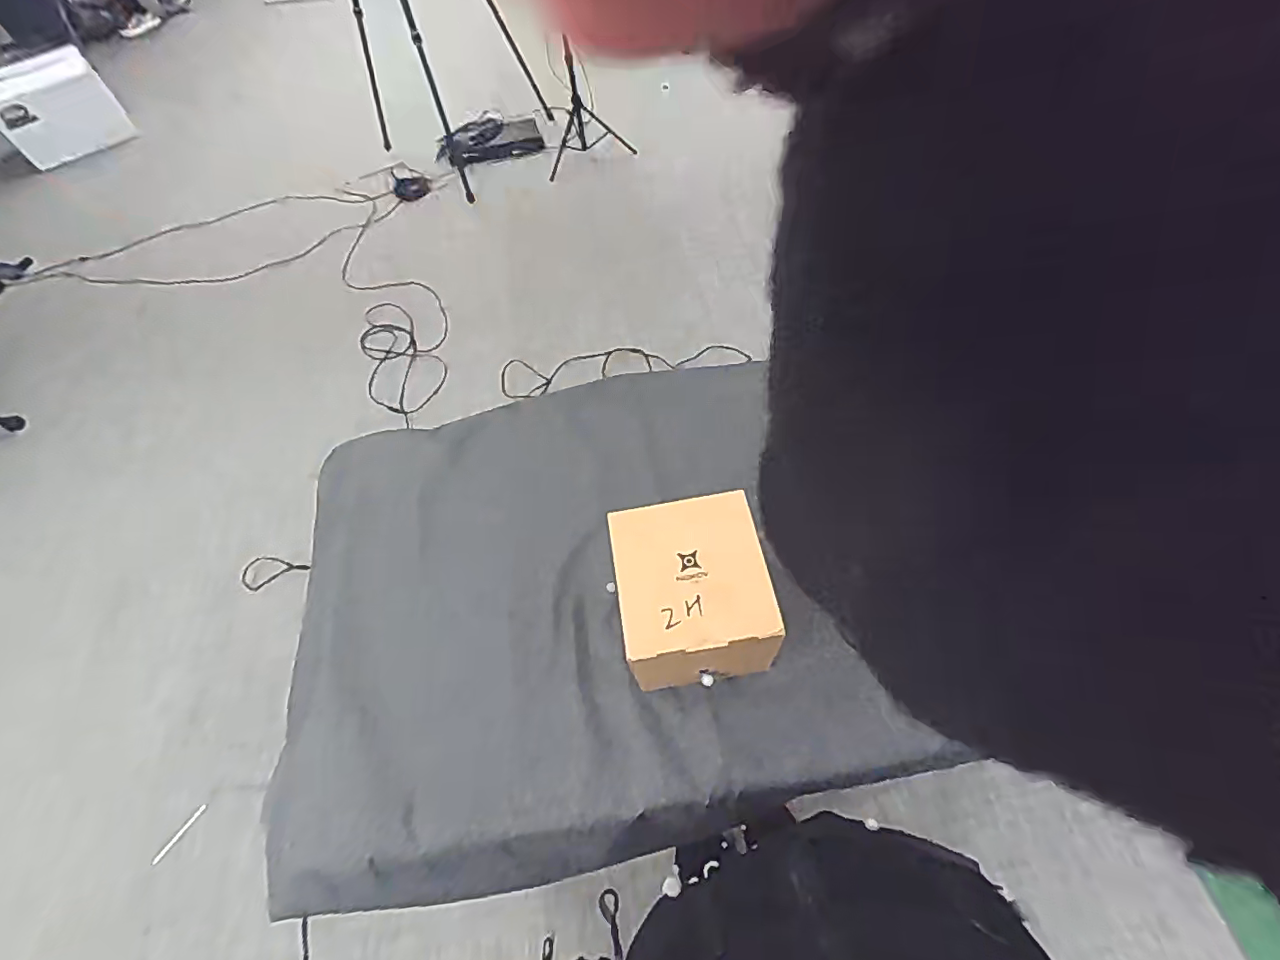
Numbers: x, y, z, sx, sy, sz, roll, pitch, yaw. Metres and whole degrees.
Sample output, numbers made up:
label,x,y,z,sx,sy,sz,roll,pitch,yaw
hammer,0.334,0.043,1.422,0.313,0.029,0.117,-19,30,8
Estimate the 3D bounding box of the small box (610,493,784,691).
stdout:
label,x,y,z,sx,sy,sz,roll,pitch,yaw
small box,0.062,0.142,0.659,0.168,0.176,0.179,-10,59,1
